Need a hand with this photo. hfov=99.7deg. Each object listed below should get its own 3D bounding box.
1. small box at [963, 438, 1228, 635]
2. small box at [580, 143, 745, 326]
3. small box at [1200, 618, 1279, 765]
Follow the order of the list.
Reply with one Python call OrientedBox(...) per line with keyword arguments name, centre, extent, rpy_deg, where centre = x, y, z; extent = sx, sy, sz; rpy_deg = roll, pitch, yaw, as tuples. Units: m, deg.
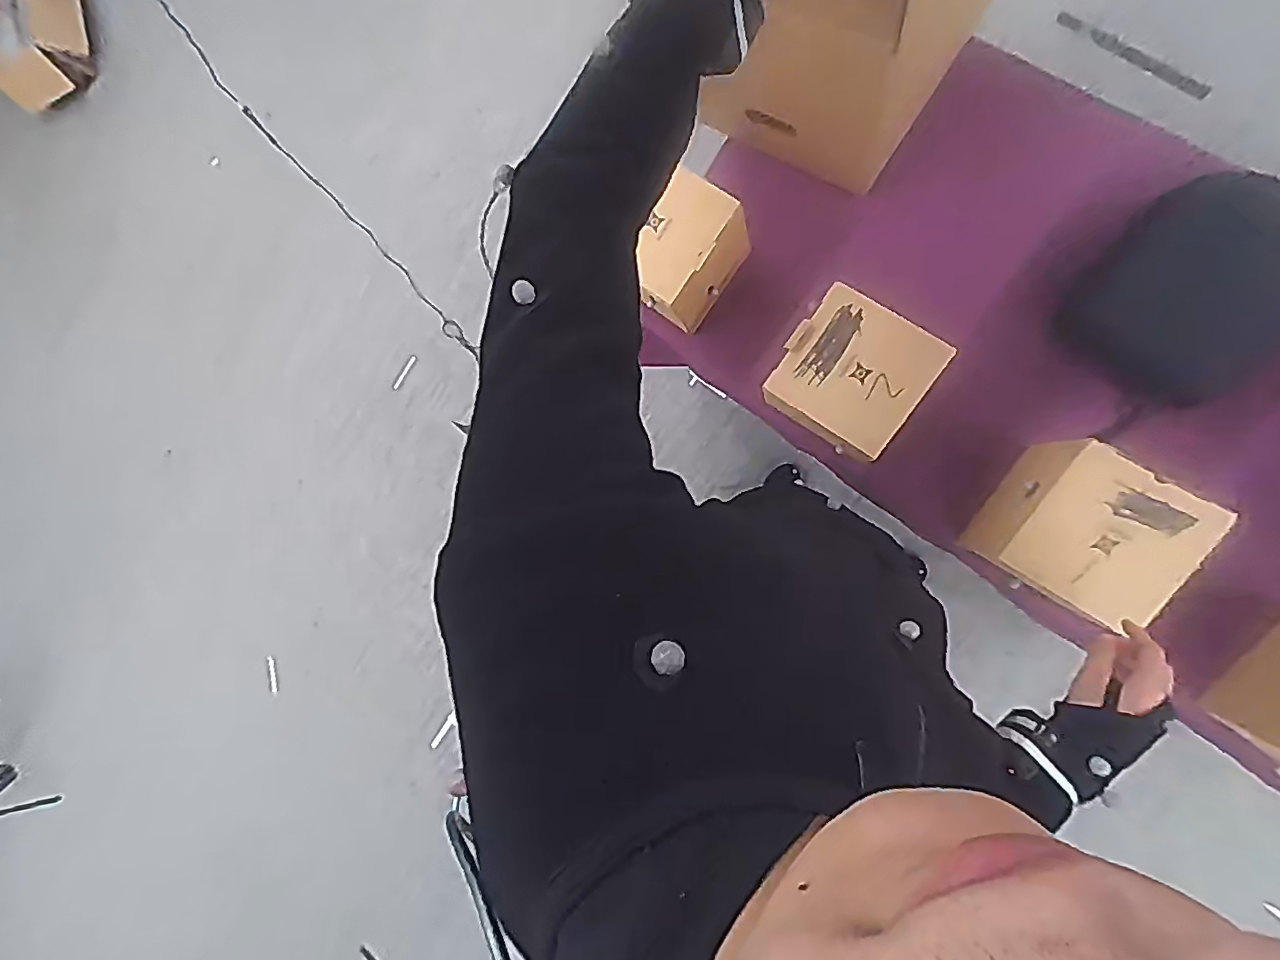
OrientedBox(name="small box", centre=(0.562, 0.062, 0.704), extent=(0.168, 0.176, 0.179), rpy_deg=(34, 101, 13))
OrientedBox(name="small box", centre=(0.043, -0.364, 0.836), extent=(0.179, 0.176, 0.168), rpy_deg=(38, 100, 10))
OrientedBox(name="small box", centre=(0.841, 0.279, 0.630), extent=(0.168, 0.176, 0.179), rpy_deg=(39, 100, 12))
